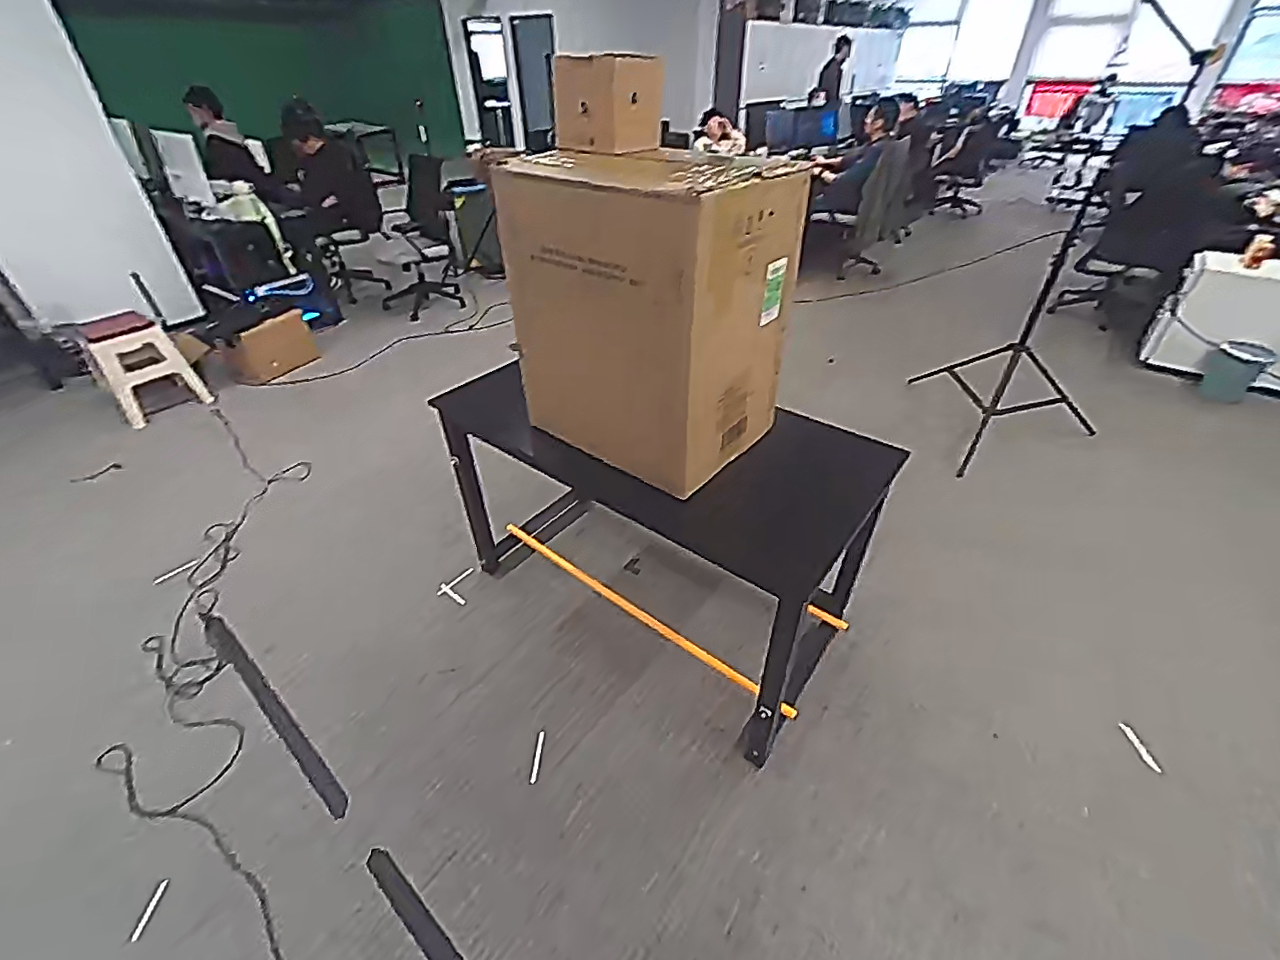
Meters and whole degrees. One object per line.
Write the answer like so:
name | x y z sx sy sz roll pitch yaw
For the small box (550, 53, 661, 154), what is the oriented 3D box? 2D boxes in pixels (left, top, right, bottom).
small box | -0.068 -0.811 1.165 0.168 0.176 0.179 24 43 27
